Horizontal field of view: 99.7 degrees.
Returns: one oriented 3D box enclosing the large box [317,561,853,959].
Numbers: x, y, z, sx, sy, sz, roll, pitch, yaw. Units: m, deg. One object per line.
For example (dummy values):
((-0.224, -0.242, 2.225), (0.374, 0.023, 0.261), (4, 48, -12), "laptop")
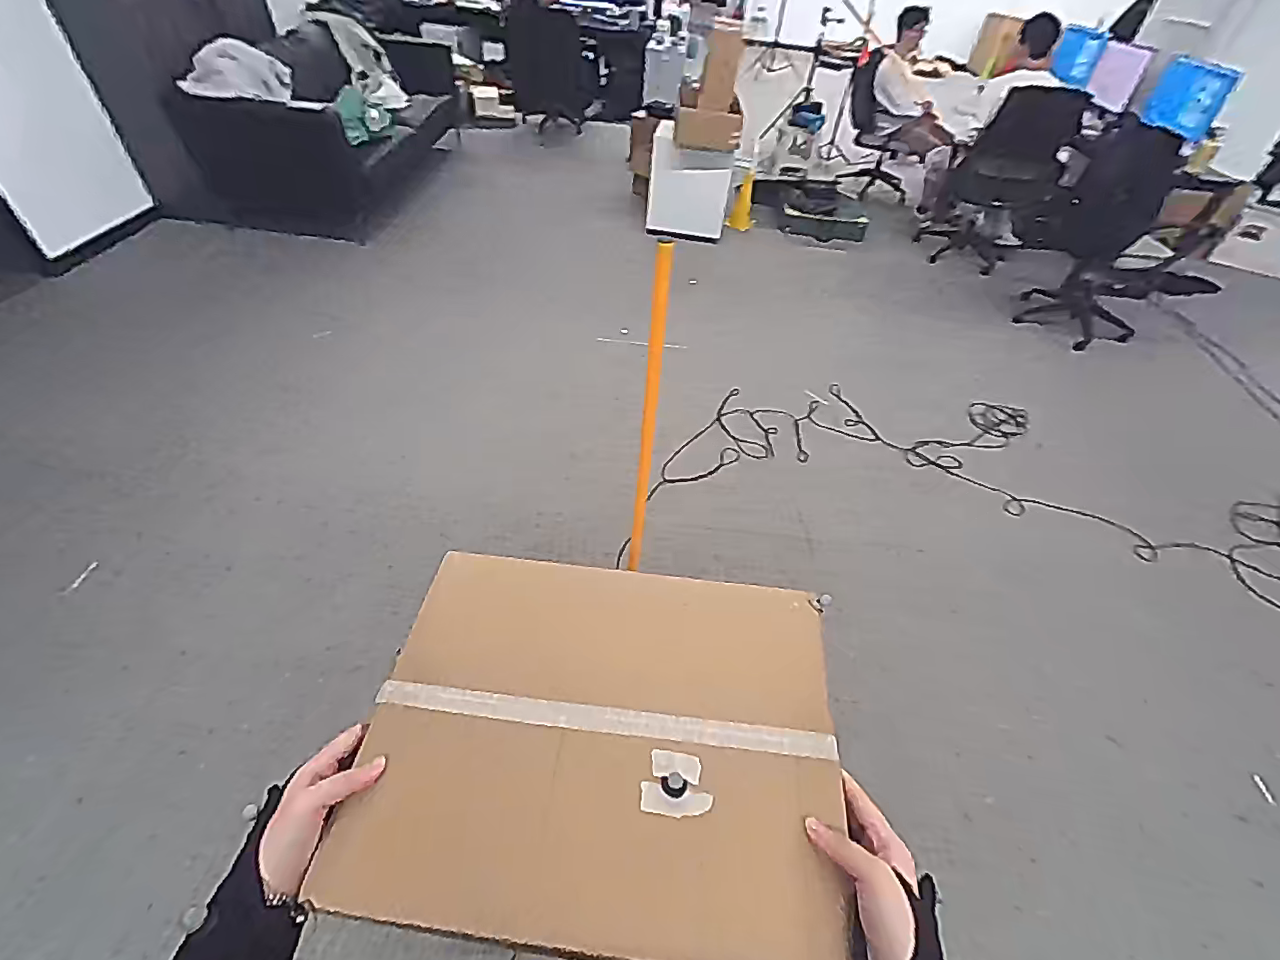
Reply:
((-0.037, 0.319, 0.600), (0.408, 0.320, 0.320), (6, 48, 3), "large box")
